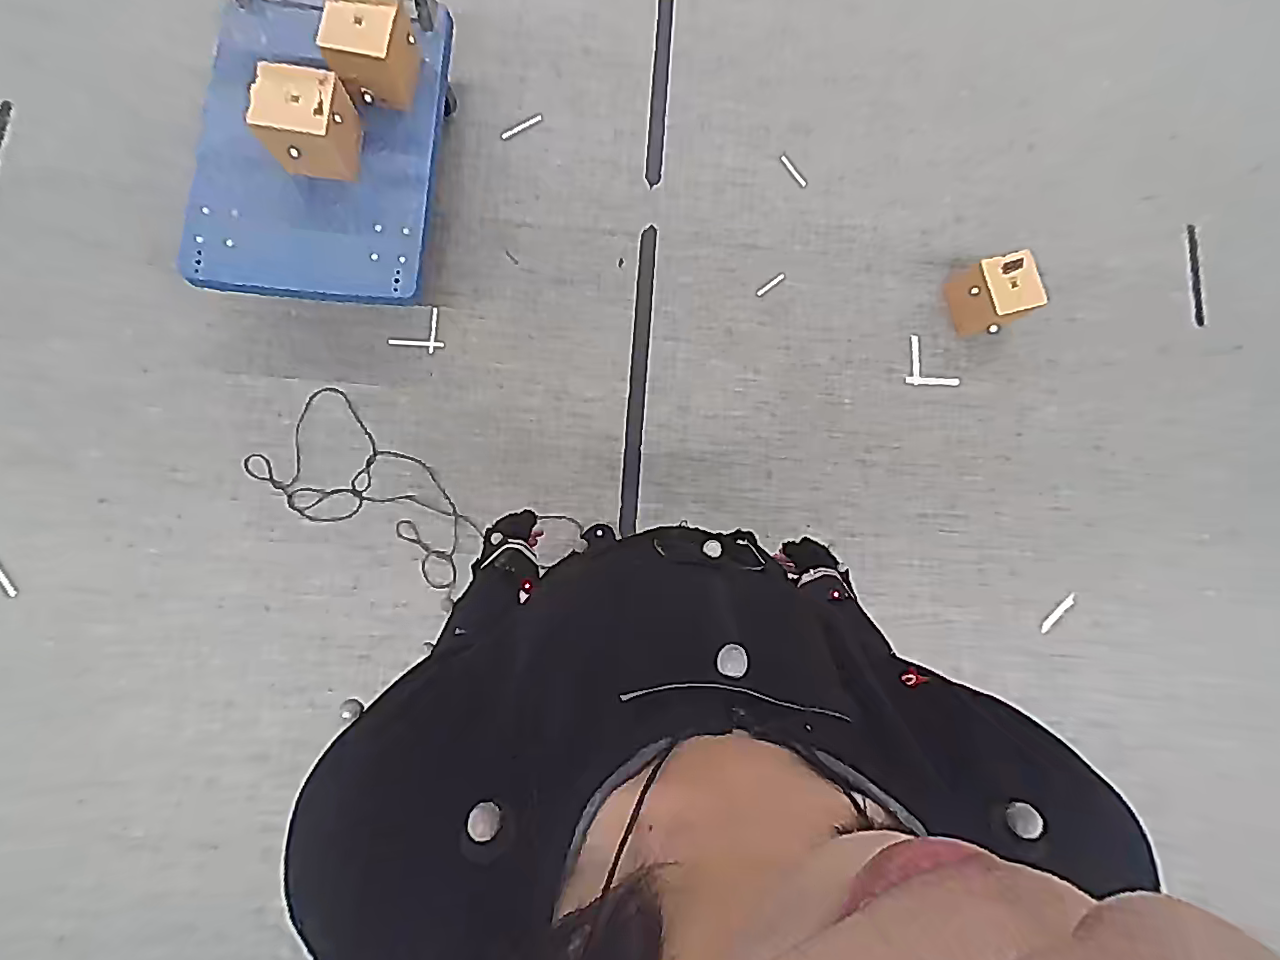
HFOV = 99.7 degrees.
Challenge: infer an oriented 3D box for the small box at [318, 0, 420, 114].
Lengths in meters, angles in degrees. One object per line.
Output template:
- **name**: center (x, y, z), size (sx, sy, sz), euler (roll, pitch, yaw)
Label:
- **small box**: center (-0.675, -1.082, 1.371), size (0.168, 0.176, 0.179), euler (8, 83, -2)

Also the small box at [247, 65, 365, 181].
- **small box**: center (-0.811, -0.869, 1.330), size (0.179, 0.176, 0.168), euler (6, 83, -3)

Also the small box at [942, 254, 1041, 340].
- **small box**: center (1.064, -0.555, 1.654), size (0.168, 0.176, 0.179), euler (-15, 84, -7)
